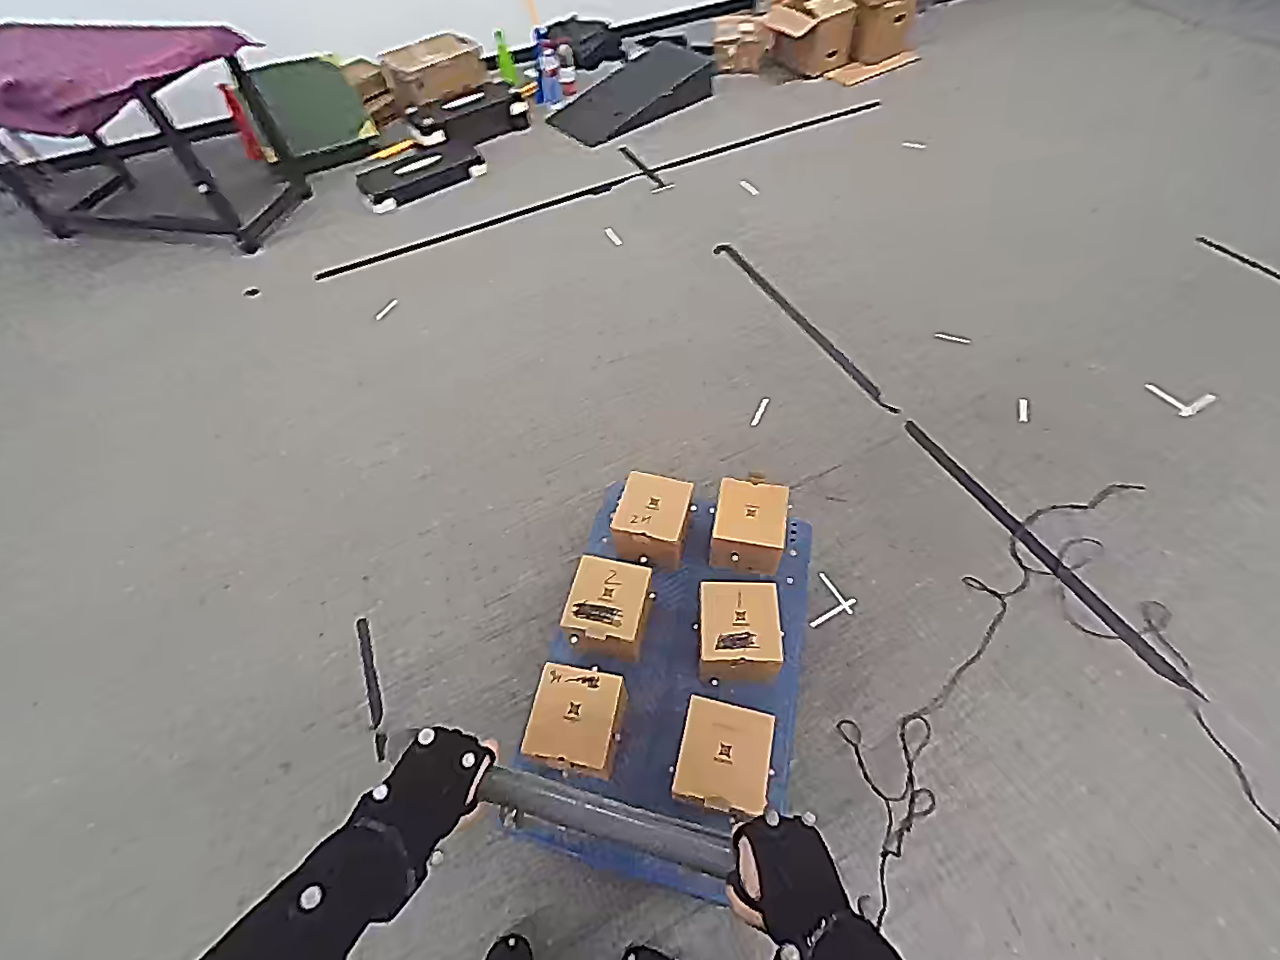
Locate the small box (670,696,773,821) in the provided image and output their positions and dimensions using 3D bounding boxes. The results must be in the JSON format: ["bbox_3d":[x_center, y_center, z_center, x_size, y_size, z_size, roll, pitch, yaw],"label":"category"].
[{"bbox_3d":[0.159,0.557,1.074,0.168,0.176,0.179,12,56,11],"label":"small box"}]

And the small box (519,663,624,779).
[{"bbox_3d":[-0.130,0.505,1.124,0.168,0.176,0.179,9,57,8],"label":"small box"}]

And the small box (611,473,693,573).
[{"bbox_3d":[0.033,0.112,1.386,0.168,0.176,0.179,13,58,12],"label":"small box"}]

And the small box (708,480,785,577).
[{"bbox_3d":[0.266,0.127,1.366,0.168,0.176,0.179,9,56,9],"label":"small box"}]

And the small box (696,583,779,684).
[{"bbox_3d":[0.213,0.348,1.215,0.168,0.176,0.179,1,54,4],"label":"small box"}]
